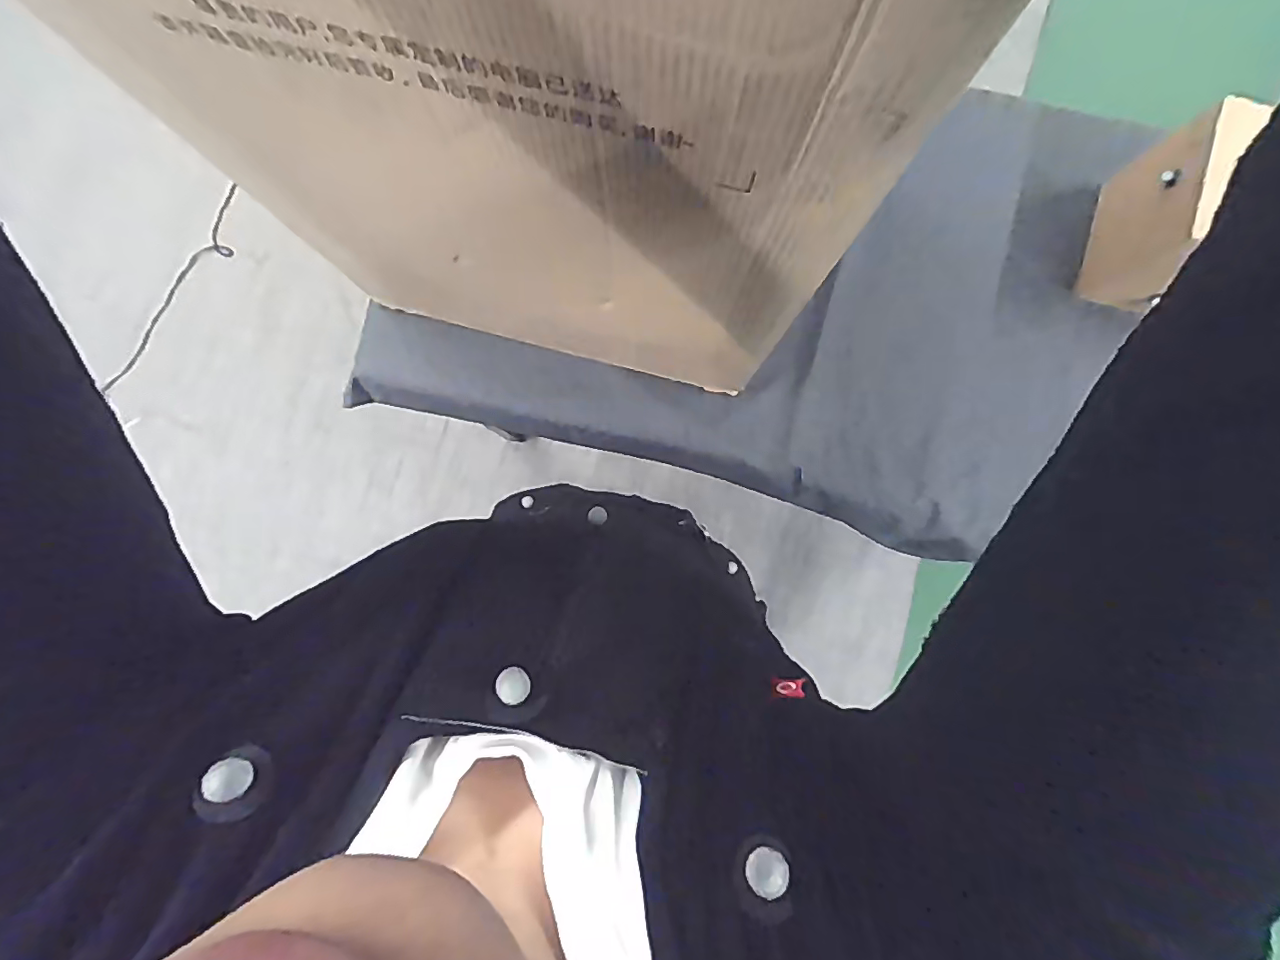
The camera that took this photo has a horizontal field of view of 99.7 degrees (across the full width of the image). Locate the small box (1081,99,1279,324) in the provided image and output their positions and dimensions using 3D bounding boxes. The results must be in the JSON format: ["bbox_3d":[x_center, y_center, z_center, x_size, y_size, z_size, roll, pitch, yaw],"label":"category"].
[{"bbox_3d":[0.718,-0.326,0.690,0.168,0.176,0.179,16,87,2],"label":"small box"}]
